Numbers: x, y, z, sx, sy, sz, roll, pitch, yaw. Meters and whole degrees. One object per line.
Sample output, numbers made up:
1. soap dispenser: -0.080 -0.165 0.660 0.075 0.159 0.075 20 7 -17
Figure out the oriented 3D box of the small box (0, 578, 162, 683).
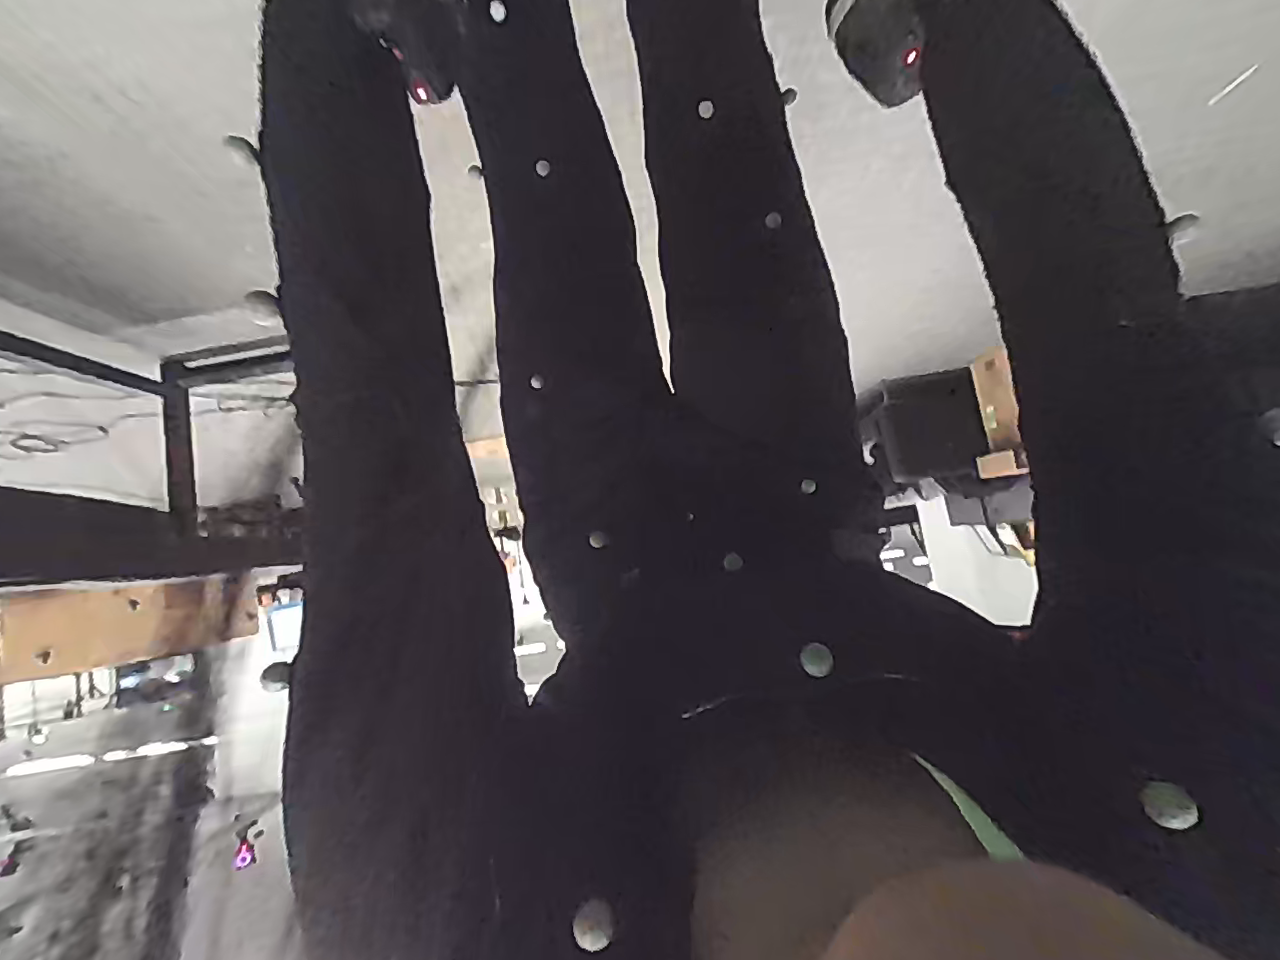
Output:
1. small box: -1.114 0.292 1.083 0.179 0.176 0.168 -10 173 2
